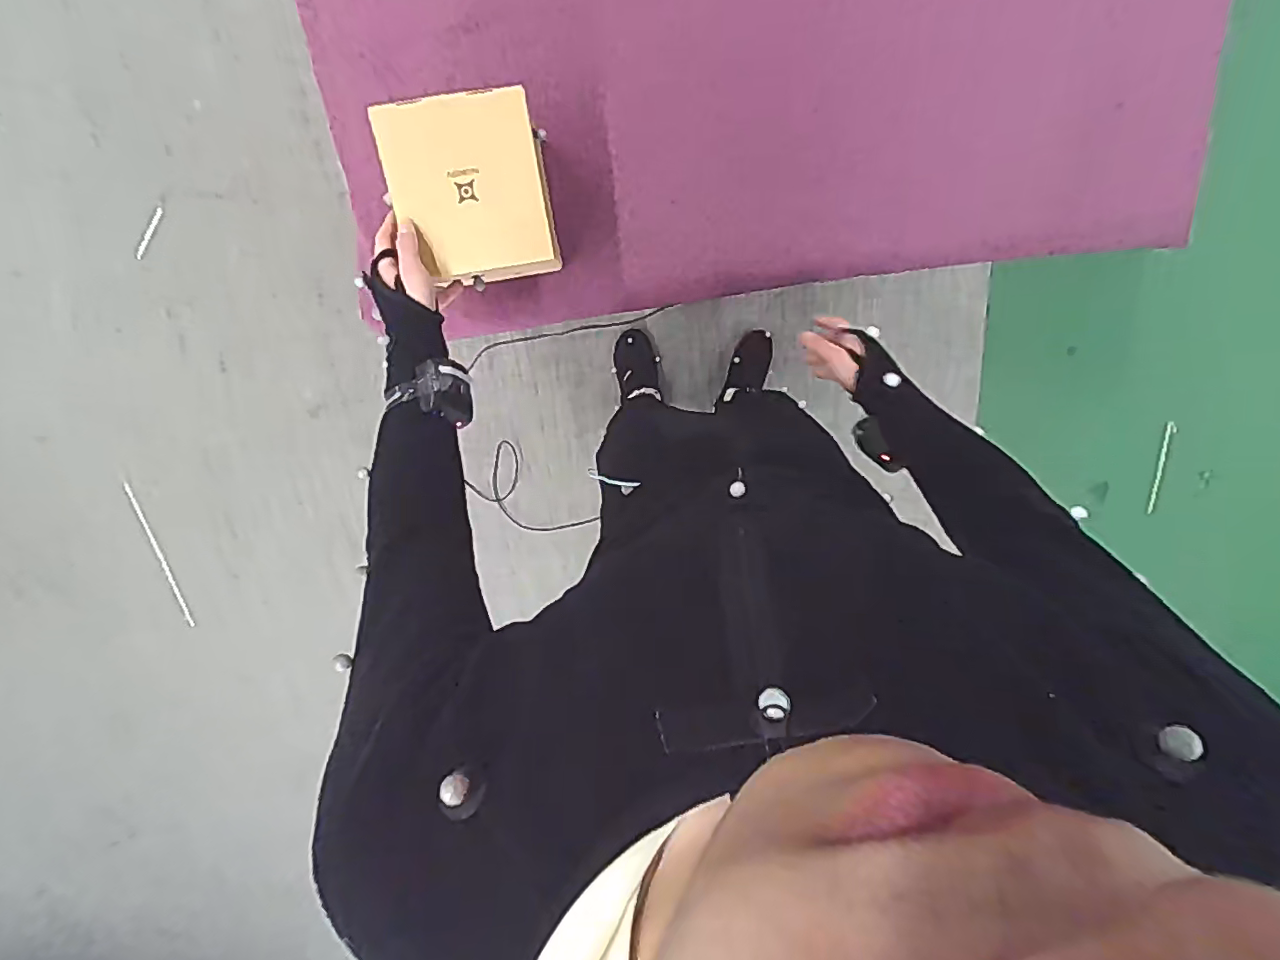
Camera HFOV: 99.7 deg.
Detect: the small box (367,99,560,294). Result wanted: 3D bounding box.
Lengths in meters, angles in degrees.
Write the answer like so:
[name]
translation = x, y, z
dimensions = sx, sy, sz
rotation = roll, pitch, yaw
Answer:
[small box]
translation = -0.199, -0.331, 0.669
dimensions = 0.168, 0.176, 0.179
rotation = -10, 106, -1
